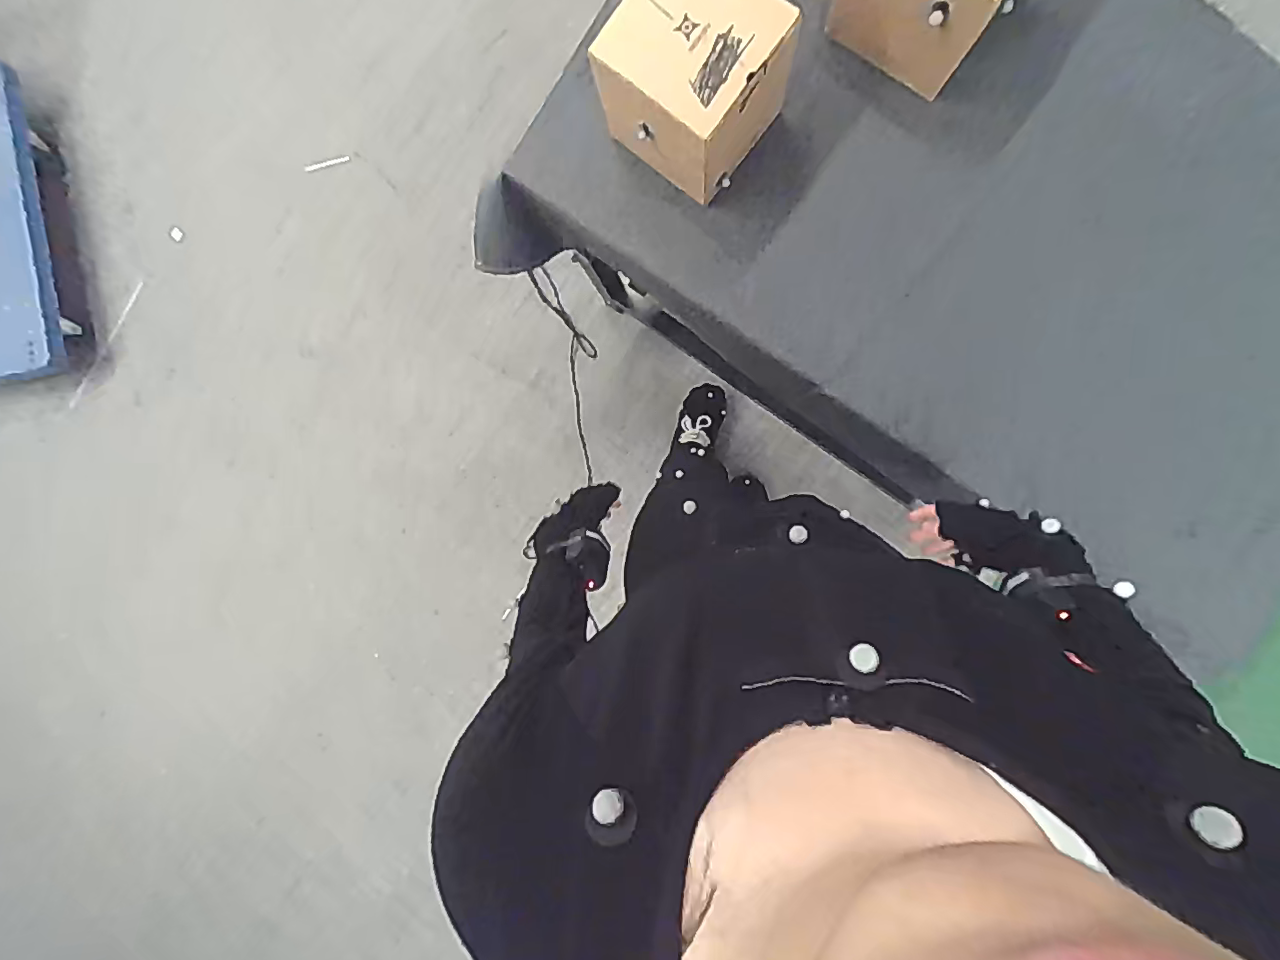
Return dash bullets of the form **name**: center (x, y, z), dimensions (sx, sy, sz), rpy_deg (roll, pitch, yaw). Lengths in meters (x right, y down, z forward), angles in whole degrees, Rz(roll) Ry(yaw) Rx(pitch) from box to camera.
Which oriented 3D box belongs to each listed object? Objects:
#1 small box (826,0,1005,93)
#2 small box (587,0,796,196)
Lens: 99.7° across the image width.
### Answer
- **small box**: center (0.353, -0.610, 0.638), dimensions (0.179, 0.176, 0.168), rpy_deg (36, 97, 4)
- **small box**: center (0.064, -0.494, 0.677), dimensions (0.179, 0.176, 0.168), rpy_deg (39, 96, 3)
